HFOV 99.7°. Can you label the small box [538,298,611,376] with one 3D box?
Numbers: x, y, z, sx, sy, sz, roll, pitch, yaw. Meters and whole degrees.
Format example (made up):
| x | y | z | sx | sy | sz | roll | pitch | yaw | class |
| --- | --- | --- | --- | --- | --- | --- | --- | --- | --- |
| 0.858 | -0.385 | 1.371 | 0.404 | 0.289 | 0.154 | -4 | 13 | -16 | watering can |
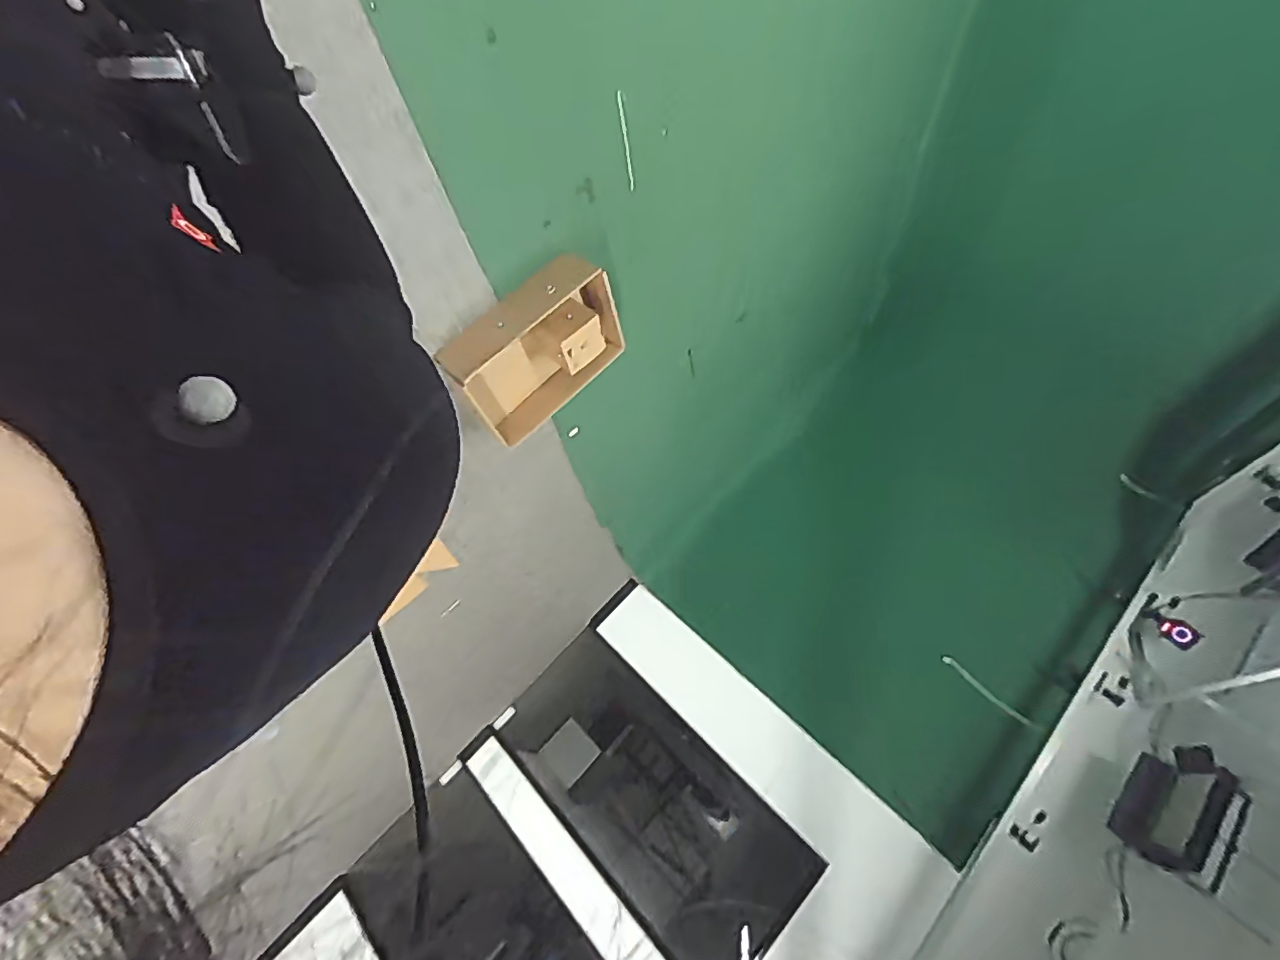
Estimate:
| x | y | z | sx | sy | sz | roll | pitch | yaw | class |
| --- | --- | --- | --- | --- | --- | --- | --- | --- | --- |
| -0.234 | -0.516 | 1.936 | 0.179 | 0.176 | 0.168 | -43 | 153 | -15 | small box |
